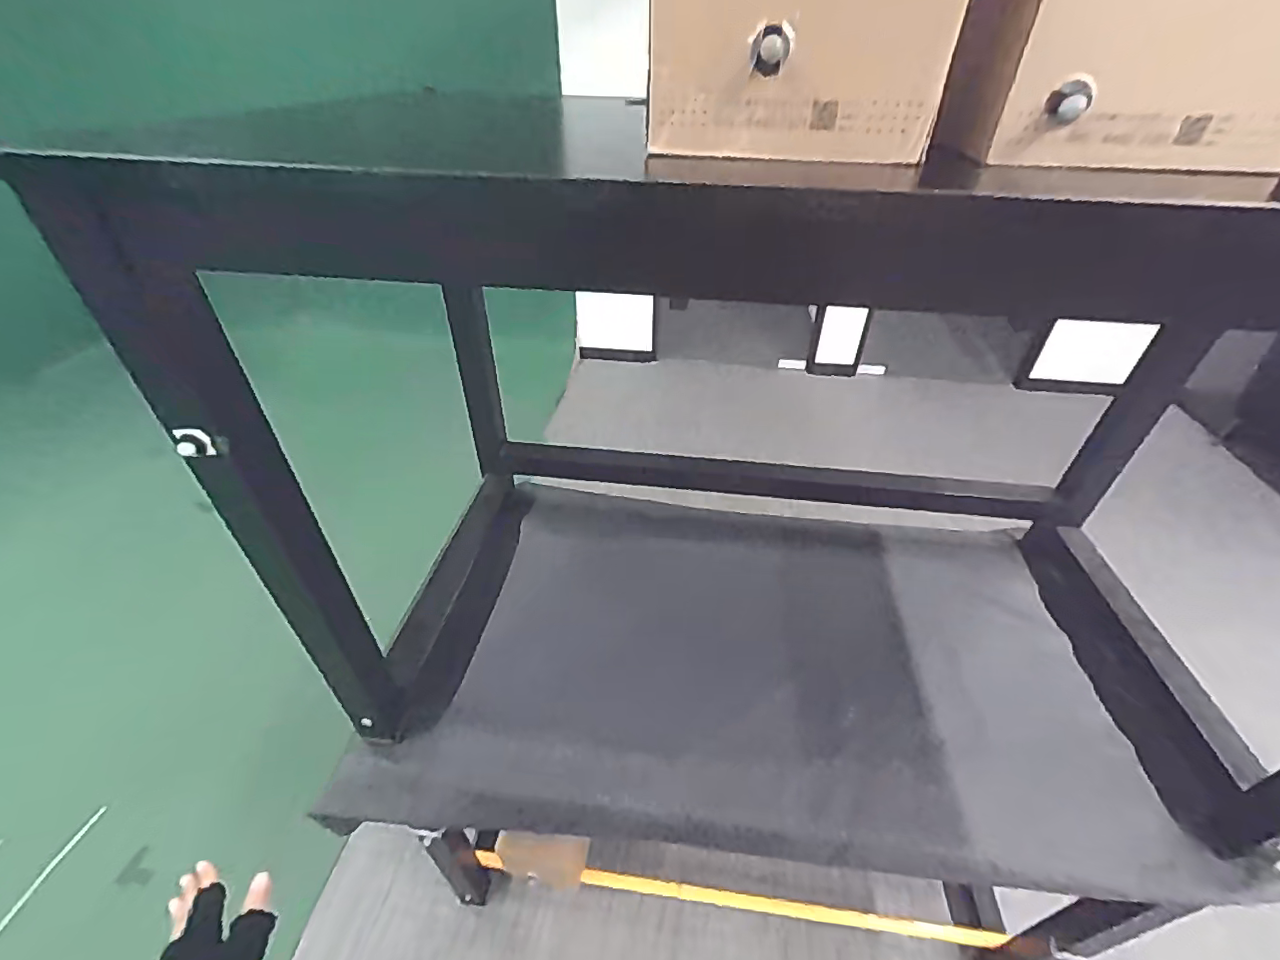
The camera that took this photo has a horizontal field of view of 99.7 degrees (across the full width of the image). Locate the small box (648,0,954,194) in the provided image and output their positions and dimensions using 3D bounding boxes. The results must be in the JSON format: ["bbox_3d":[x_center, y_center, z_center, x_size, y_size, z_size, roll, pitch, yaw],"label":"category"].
[{"bbox_3d":[0.097,-0.304,0.362,0.168,0.176,0.179,6,38,6],"label":"small box"}]
